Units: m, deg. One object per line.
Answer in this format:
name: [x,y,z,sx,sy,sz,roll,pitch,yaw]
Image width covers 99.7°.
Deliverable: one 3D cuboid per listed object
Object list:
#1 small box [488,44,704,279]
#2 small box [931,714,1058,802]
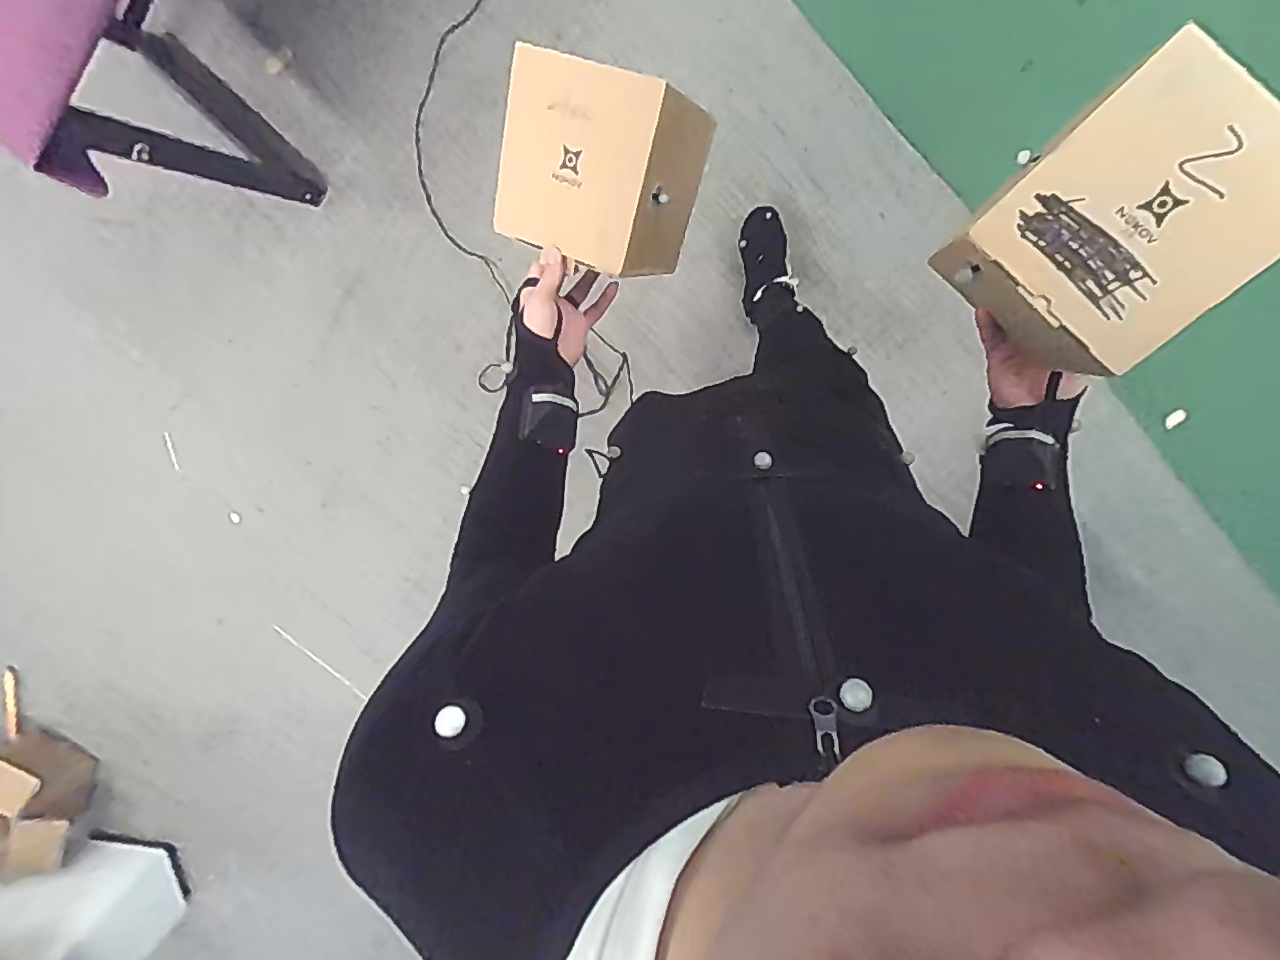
small box: [-0.044,-0.341,0.607,0.168,0.176,0.179,25,119,14]
small box: [0.813,0.680,1.238,0.168,0.176,0.179,-41,97,16]
